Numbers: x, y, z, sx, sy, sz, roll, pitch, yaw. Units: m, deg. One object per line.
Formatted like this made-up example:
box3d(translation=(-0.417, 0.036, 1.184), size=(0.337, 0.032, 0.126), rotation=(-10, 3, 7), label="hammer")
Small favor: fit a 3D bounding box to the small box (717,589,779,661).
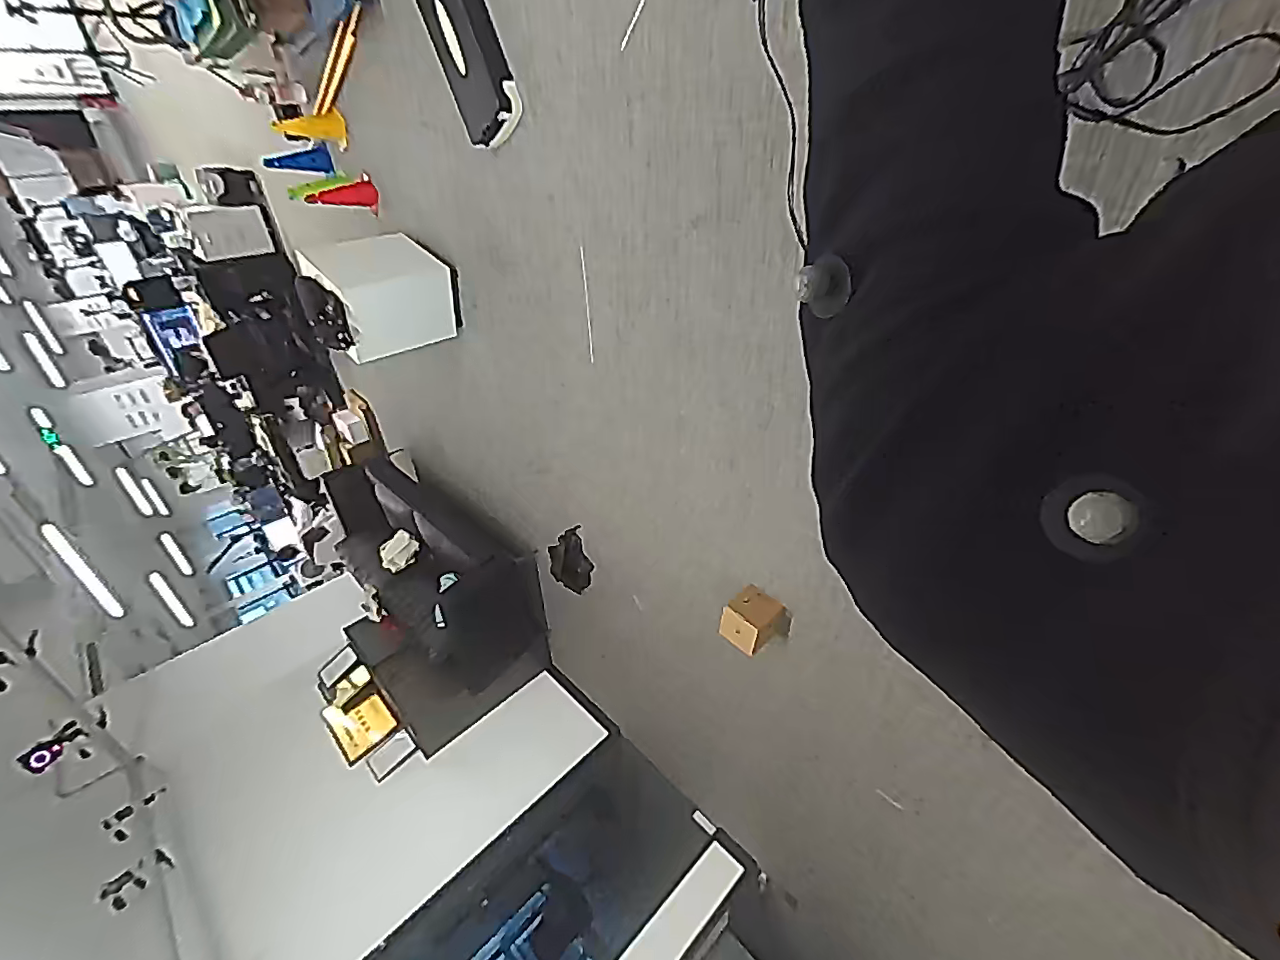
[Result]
box3d(translation=(0.427, 0.565, 2.131), size=(0.168, 0.176, 0.179), rotation=(34, 138, 35), label="small box")
